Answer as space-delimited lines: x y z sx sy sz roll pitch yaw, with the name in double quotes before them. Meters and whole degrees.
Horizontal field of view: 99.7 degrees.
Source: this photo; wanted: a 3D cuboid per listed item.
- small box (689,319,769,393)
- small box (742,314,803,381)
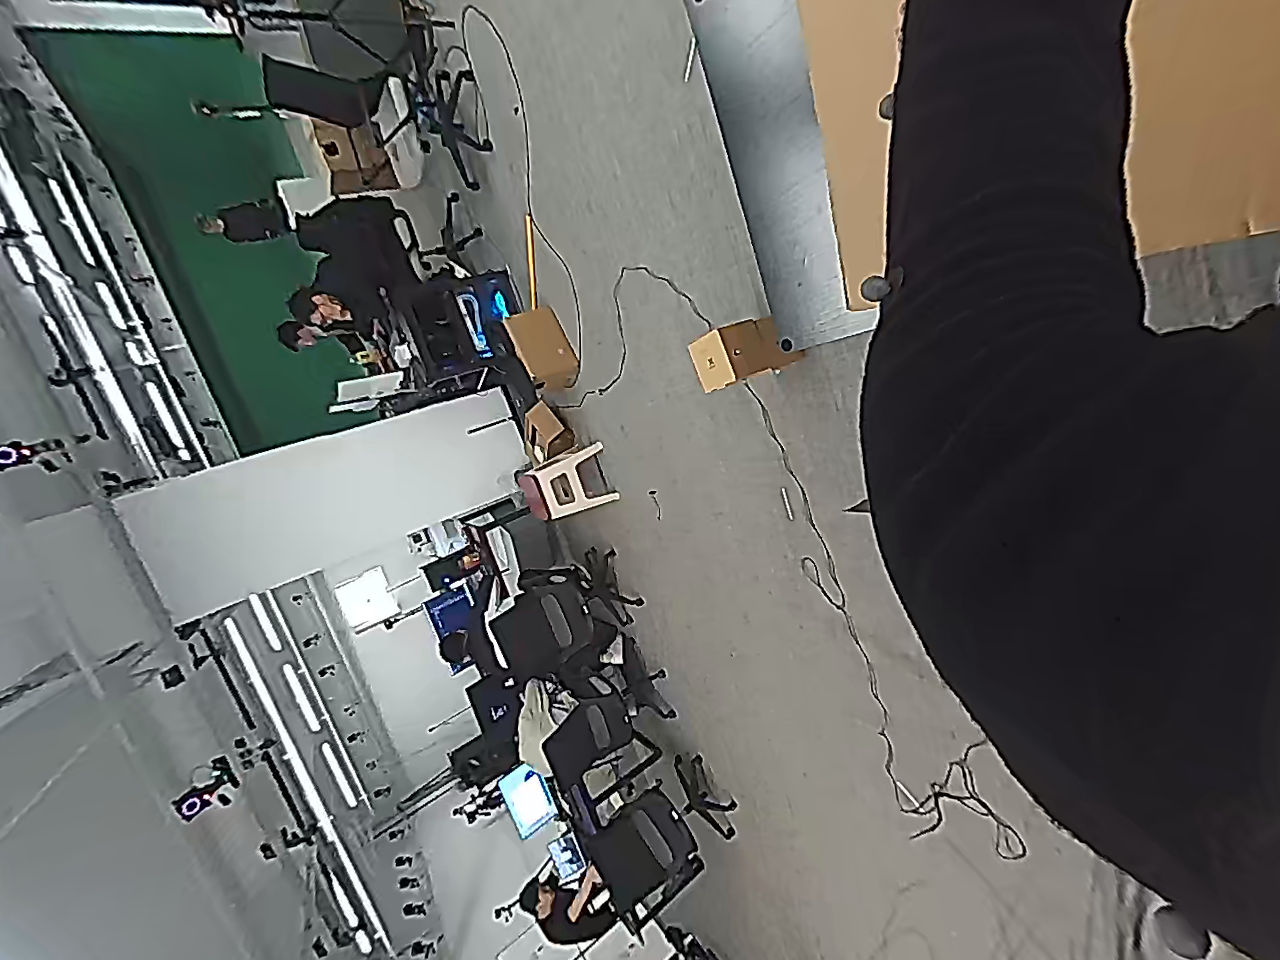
"small box" 0.297 -0.410 1.790 0.168 0.176 0.179 -16 96 60
"small box" 0.430 -0.462 1.868 0.168 0.176 0.179 -9 103 61
